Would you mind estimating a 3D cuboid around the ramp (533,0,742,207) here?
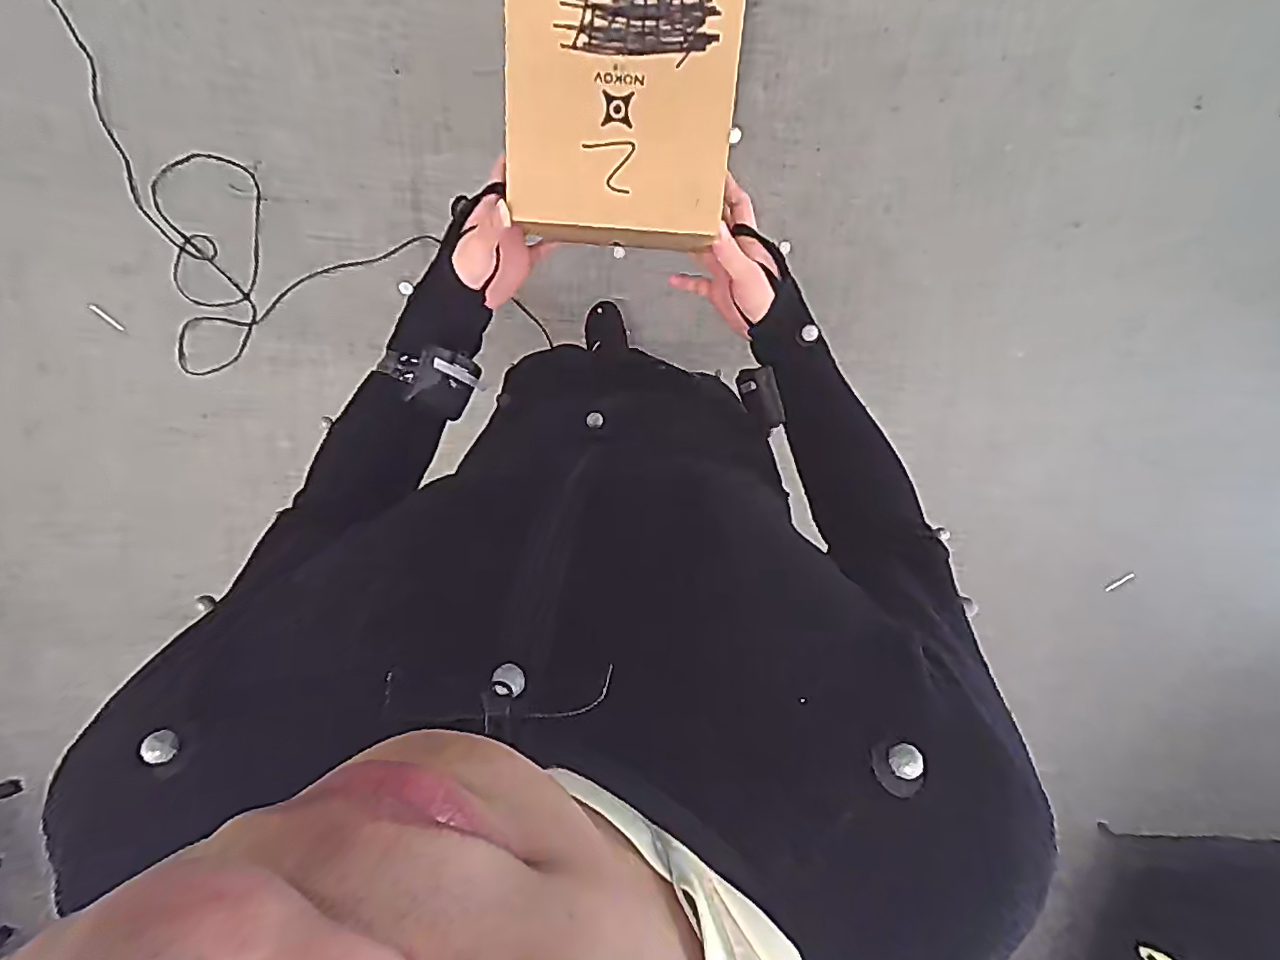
[{"bbox_3d":[0.000,-1.192,1.232,0.509,0.206,0.991,0,105,-3],"label":"ramp"}]
